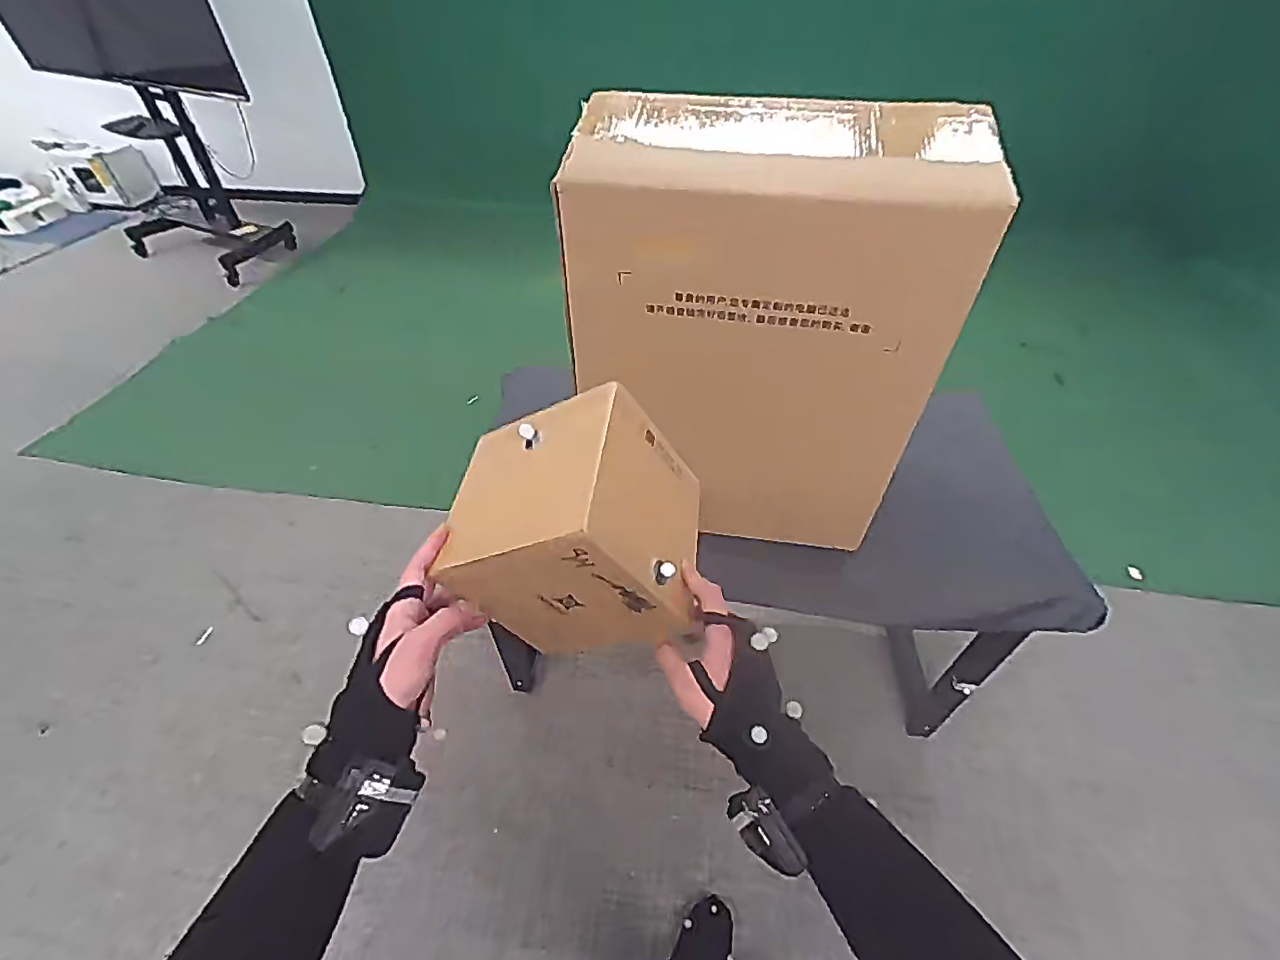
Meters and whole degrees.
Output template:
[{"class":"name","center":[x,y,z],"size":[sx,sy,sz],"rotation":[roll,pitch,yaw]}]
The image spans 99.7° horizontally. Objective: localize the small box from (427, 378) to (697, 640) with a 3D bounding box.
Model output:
[{"class":"small box","center":[-0.059,0.034,0.517],"size":[0.179,0.168,0.176],"rotation":[-16,45,29]}]
